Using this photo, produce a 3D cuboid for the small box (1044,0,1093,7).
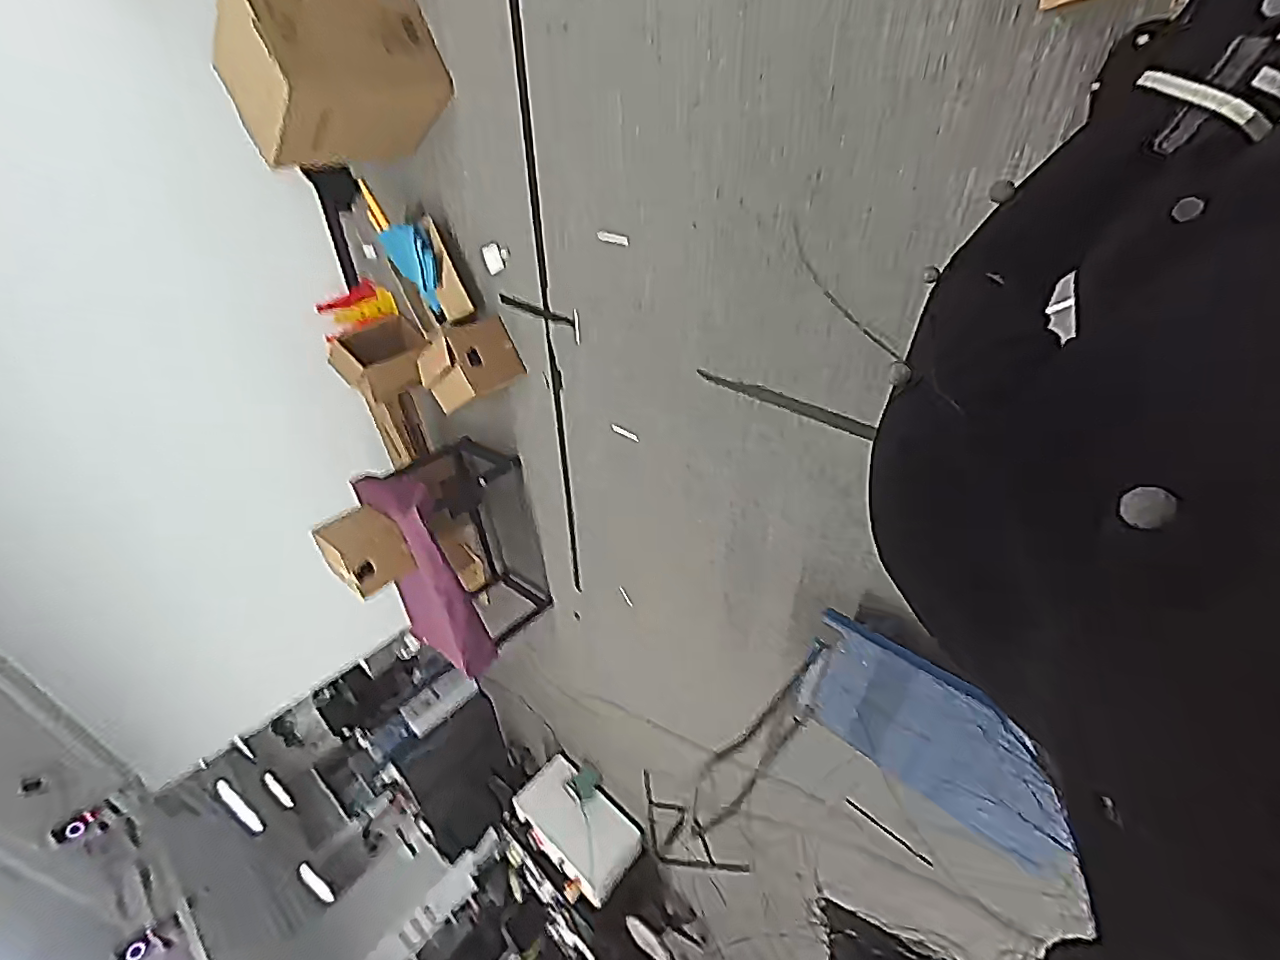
[{"bbox_3d":[0.779,-0.890,0.860,0.179,0.176,0.168,16,127,42],"label":"small box"}]
